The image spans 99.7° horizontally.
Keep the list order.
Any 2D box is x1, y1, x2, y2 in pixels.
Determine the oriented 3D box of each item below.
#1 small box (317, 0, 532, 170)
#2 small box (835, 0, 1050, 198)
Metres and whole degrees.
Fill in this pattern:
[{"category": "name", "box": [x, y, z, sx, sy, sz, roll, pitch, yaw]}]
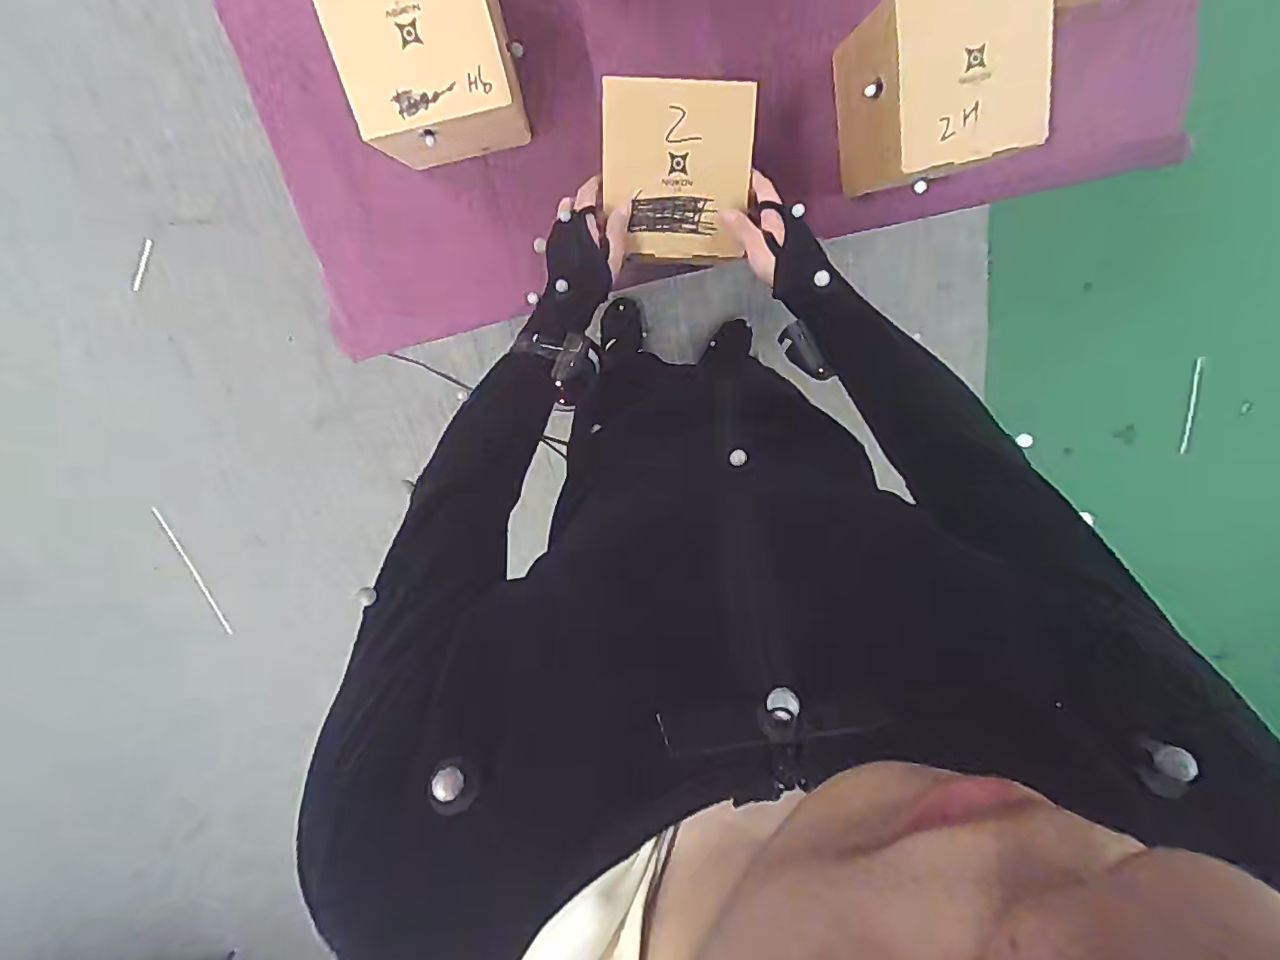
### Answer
[{"category": "small box", "box": [-0.233, -0.480, 0.614, 0.168, 0.176, 0.179, -12, 110, 3]}, {"category": "small box", "box": [0.348, -0.463, 0.652, 0.168, 0.176, 0.179, -12, 109, 2]}]
